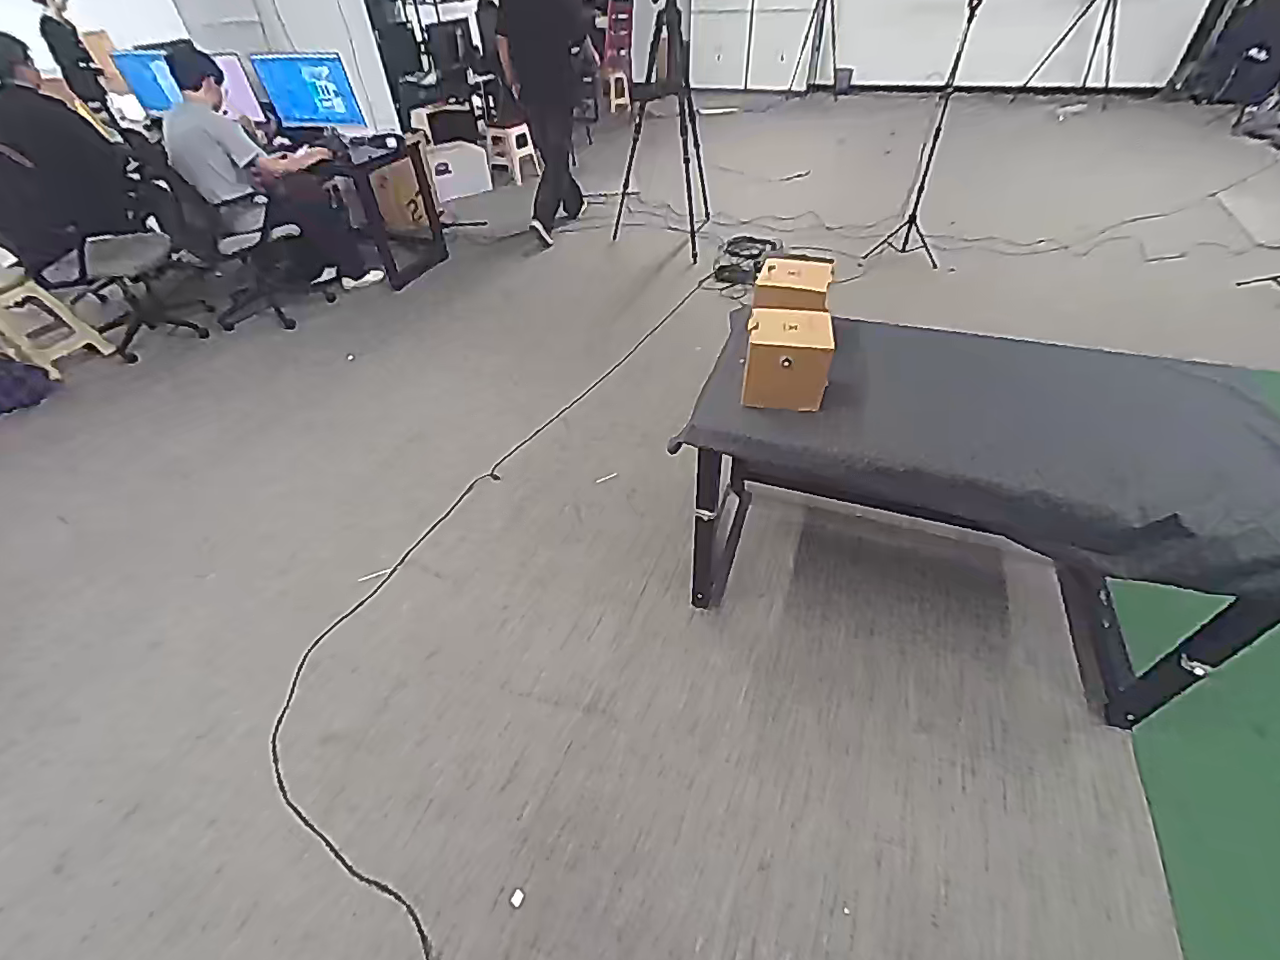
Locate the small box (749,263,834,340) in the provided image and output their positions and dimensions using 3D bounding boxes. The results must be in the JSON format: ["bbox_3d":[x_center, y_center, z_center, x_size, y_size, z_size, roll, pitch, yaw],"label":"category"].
[{"bbox_3d":[0.400,-0.453,1.437,0.179,0.176,0.168,14,46,15],"label":"small box"}]

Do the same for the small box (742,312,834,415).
[{"bbox_3d":[0.334,-0.266,1.243,0.179,0.176,0.168,8,45,8],"label":"small box"}]
